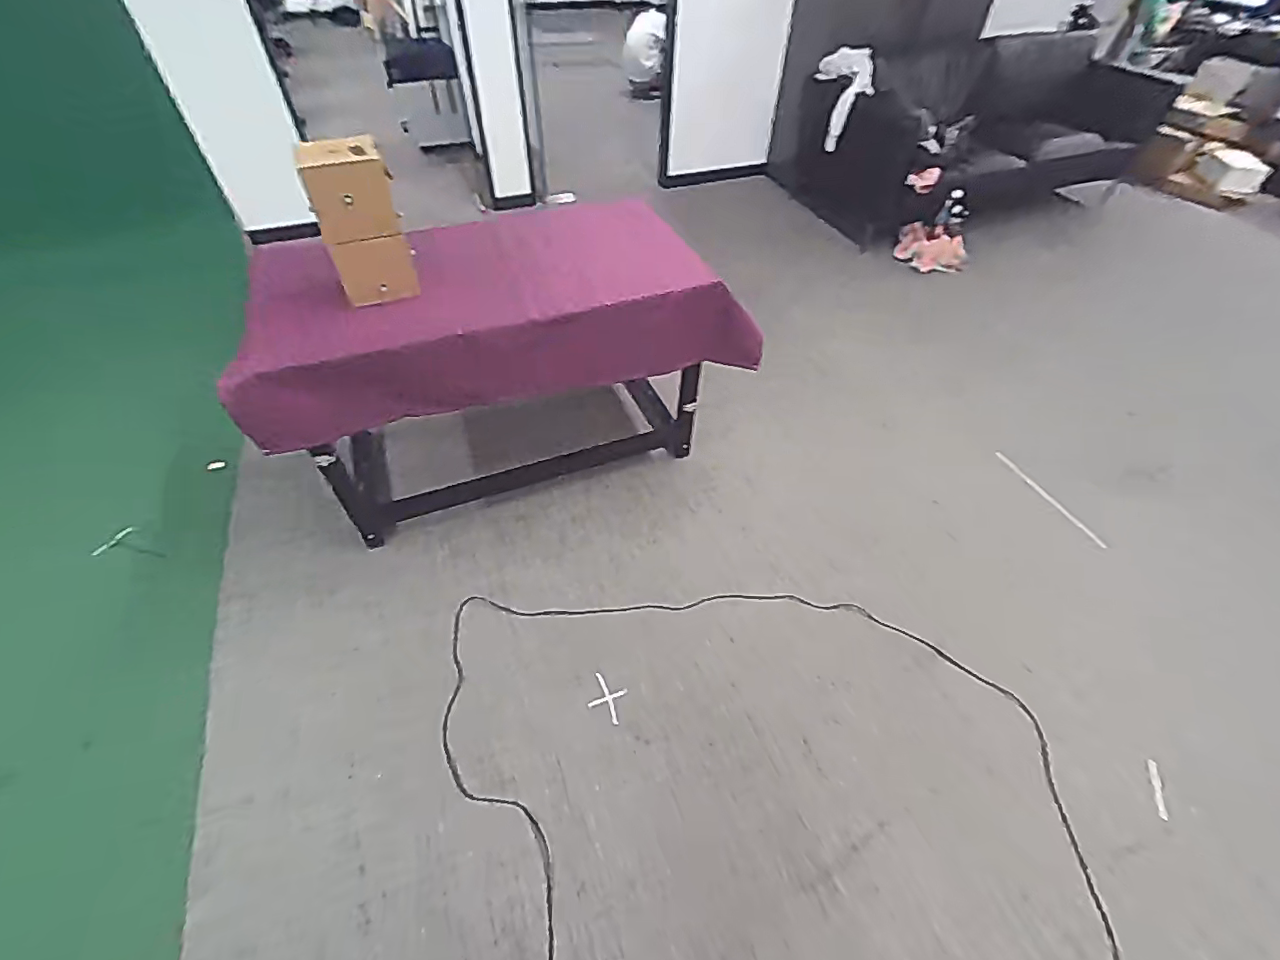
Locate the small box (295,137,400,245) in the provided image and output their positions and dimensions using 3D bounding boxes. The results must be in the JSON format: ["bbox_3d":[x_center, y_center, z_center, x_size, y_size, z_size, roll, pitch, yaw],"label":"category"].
[{"bbox_3d":[-0.686,-0.684,1.283,0.179,0.176,0.168,-19,52,-16],"label":"small box"}]

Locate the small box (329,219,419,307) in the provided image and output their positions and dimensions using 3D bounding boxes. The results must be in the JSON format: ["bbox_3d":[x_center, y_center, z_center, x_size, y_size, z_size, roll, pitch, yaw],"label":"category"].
[{"bbox_3d":[-0.691,-0.576,1.408,0.179,0.176,0.168,-18,52,-17],"label":"small box"}]
